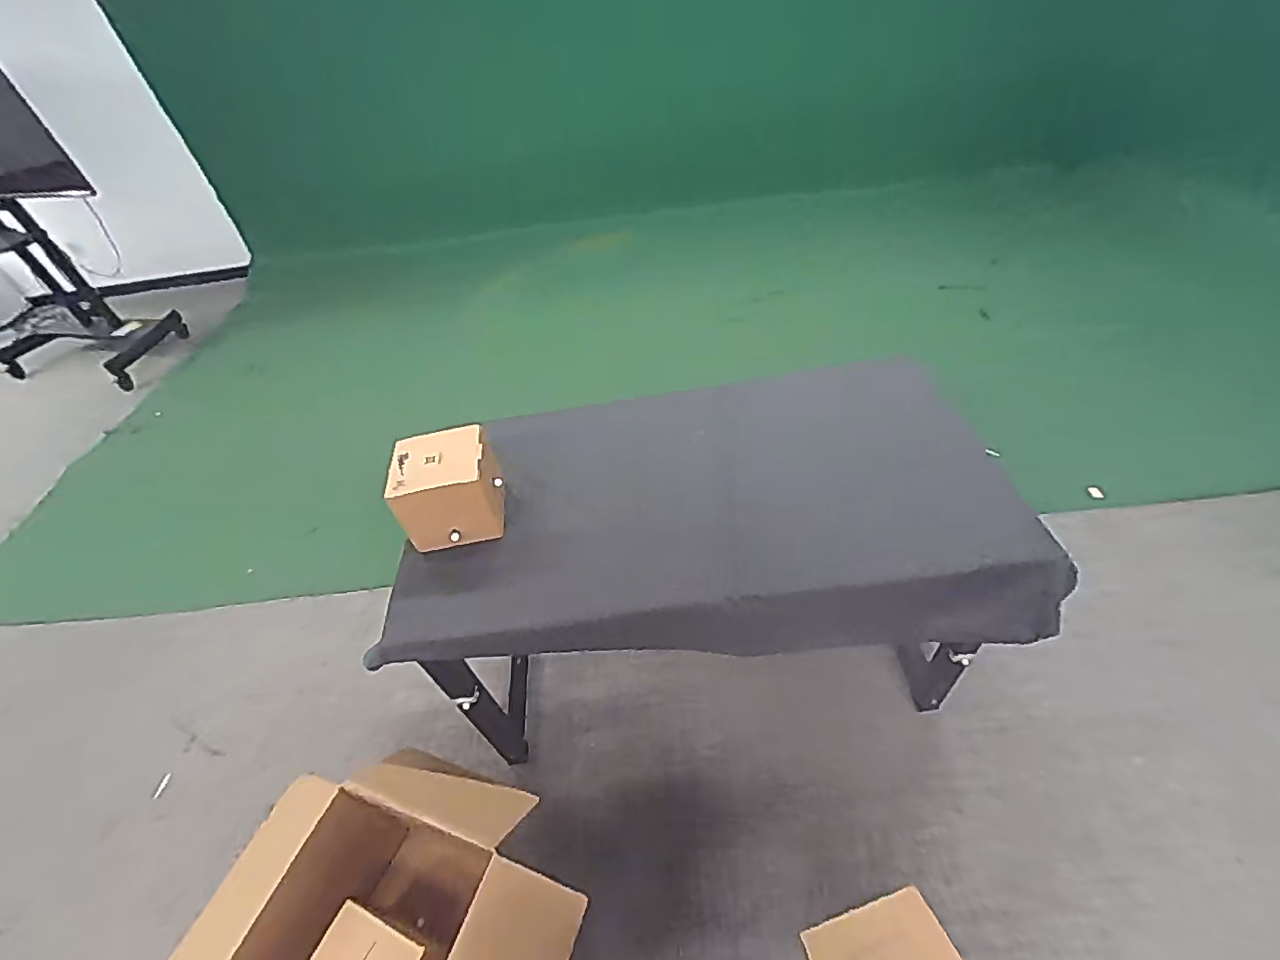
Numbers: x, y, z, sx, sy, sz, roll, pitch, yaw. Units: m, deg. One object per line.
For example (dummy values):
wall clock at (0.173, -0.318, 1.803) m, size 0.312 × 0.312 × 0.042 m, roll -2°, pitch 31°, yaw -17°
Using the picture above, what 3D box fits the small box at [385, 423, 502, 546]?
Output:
small box at (-0.383, 0.012, 1.094) m, size 0.179 × 0.176 × 0.168 m, roll -11°, pitch 45°, yaw -3°

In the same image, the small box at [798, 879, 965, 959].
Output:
small box at (0.315, 0.638, 0.640) m, size 0.168 × 0.176 × 0.179 m, roll -20°, pitch 19°, yaw -4°
